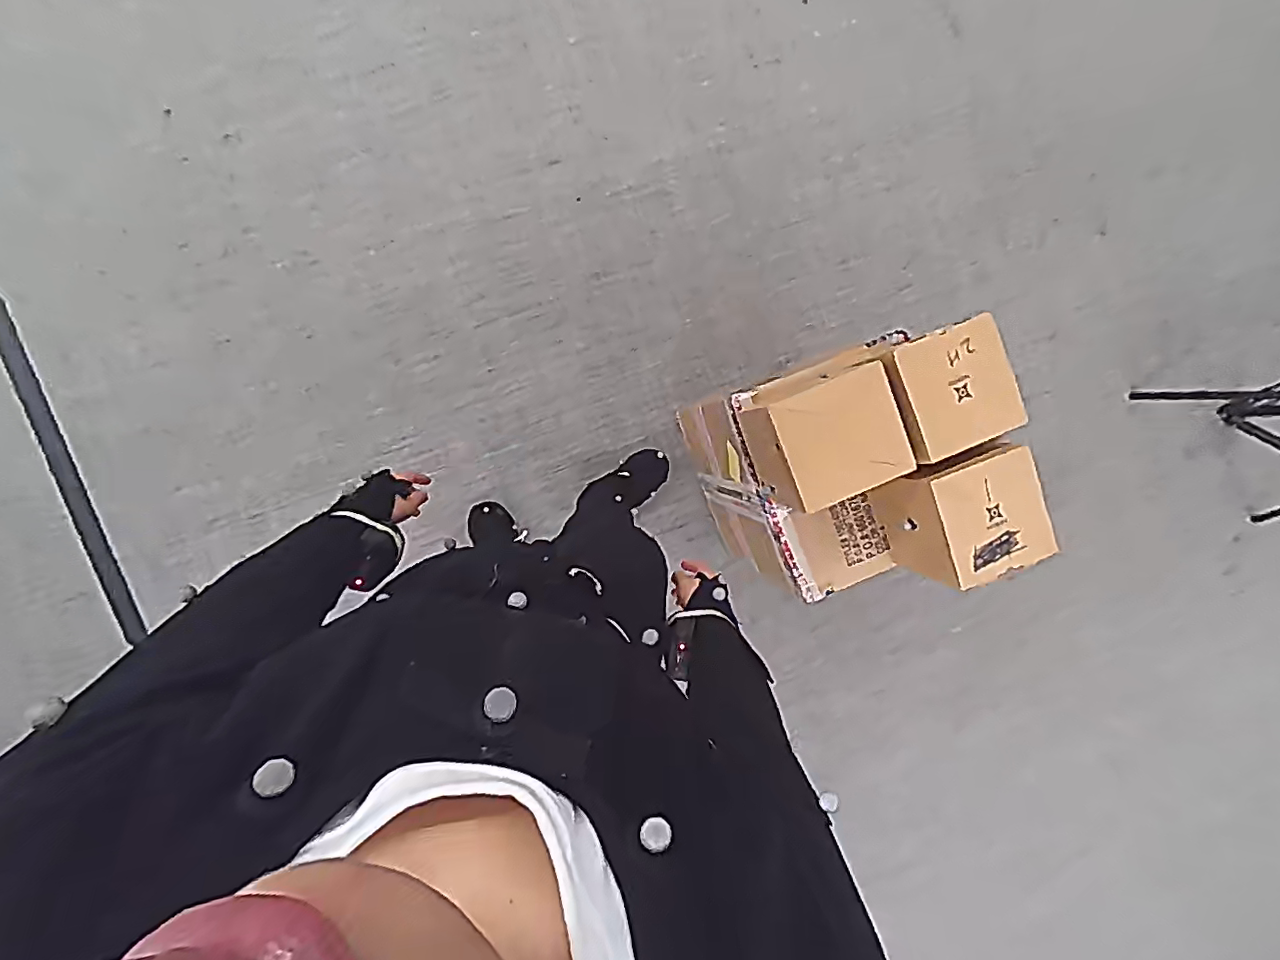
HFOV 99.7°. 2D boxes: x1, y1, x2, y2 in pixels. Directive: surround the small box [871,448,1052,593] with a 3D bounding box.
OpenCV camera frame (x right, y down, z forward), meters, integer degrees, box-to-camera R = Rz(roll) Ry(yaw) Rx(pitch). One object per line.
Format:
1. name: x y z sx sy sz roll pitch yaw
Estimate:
1. small box: 0.509 0.054 0.876 0.168 0.176 0.179 -20 96 -5
